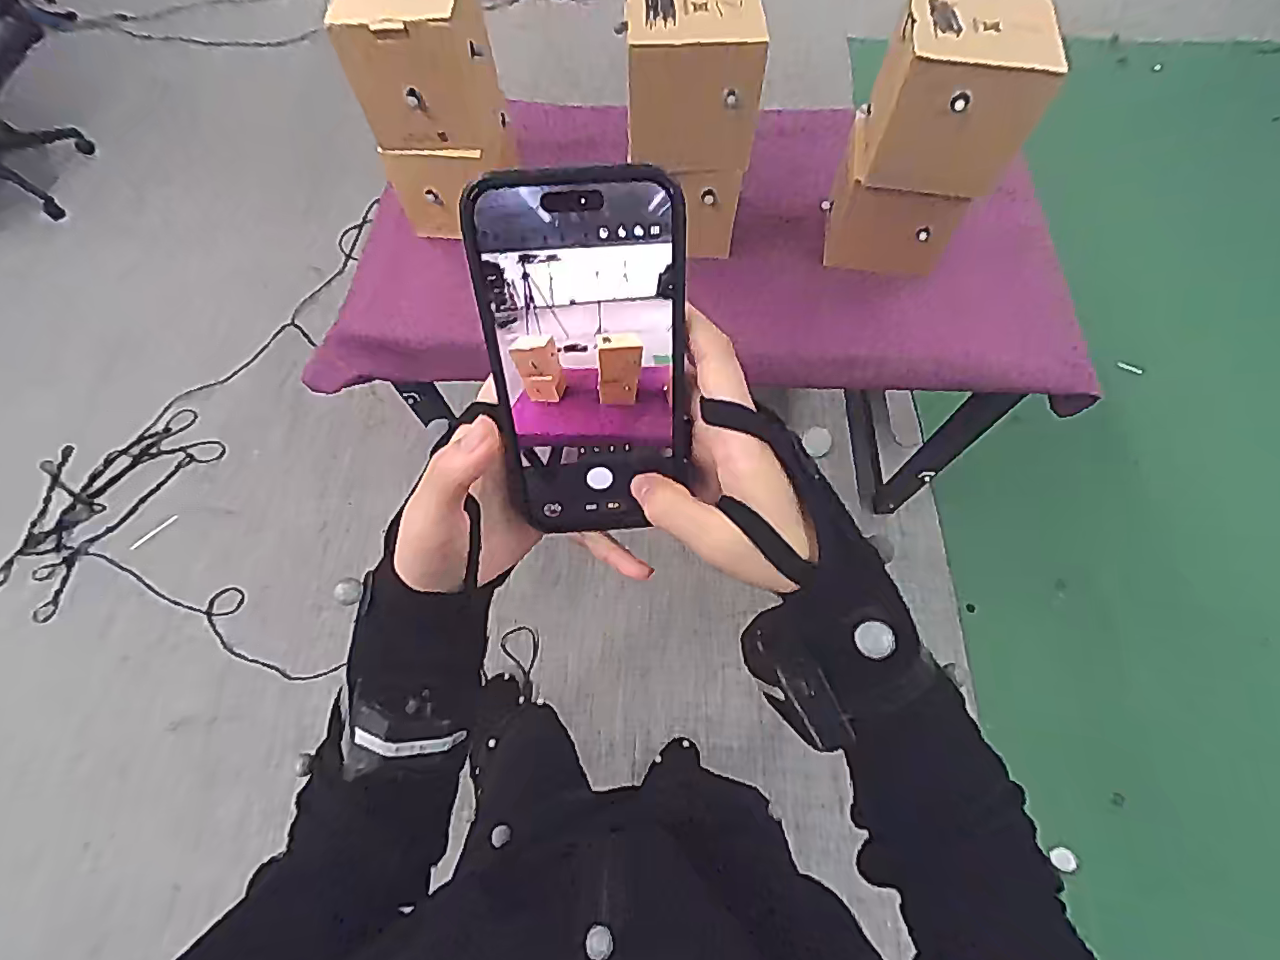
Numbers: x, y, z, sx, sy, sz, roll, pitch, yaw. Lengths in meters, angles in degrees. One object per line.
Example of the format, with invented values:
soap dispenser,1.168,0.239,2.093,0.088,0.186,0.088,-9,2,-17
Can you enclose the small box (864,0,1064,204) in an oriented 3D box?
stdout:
small box,0.418,-0.505,0.731,0.179,0.176,0.168,10,66,5

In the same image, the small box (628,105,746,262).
small box,0.077,-0.492,0.911,0.179,0.176,0.168,4,66,4

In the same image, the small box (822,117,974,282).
small box,0.414,-0.452,0.886,0.179,0.176,0.168,10,66,6

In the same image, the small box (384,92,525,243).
small box,-0.309,-0.540,0.944,0.168,0.176,0.179,5,66,4

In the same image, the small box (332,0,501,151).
small box,-0.313,-0.615,0.798,0.168,0.176,0.179,1,66,1
